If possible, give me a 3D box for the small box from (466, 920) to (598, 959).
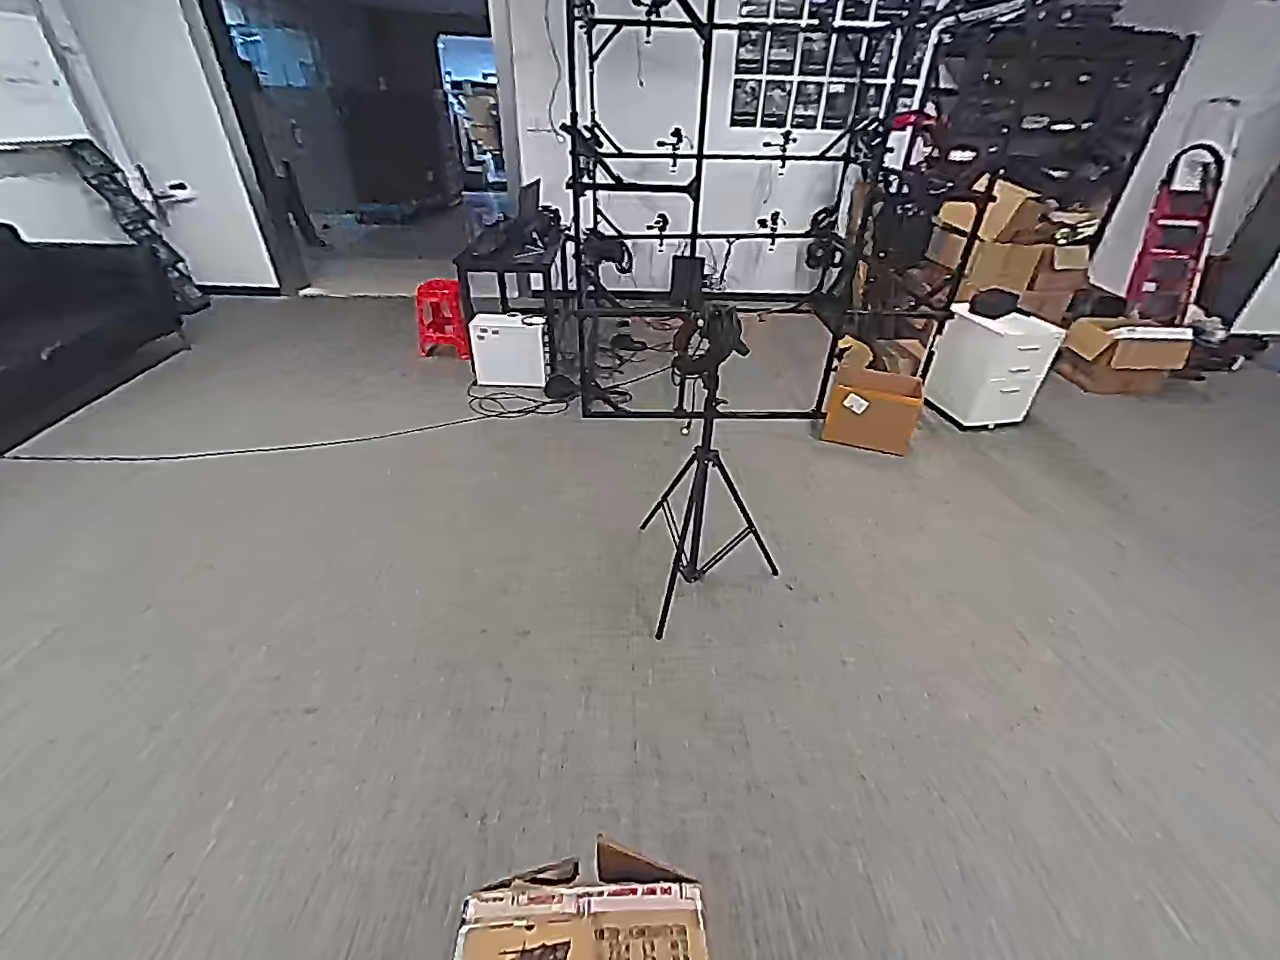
[{"bbox_3d":[-0.136,0.697,0.687,0.168,0.176,0.179,-2,38,-3],"label":"small box"}]
